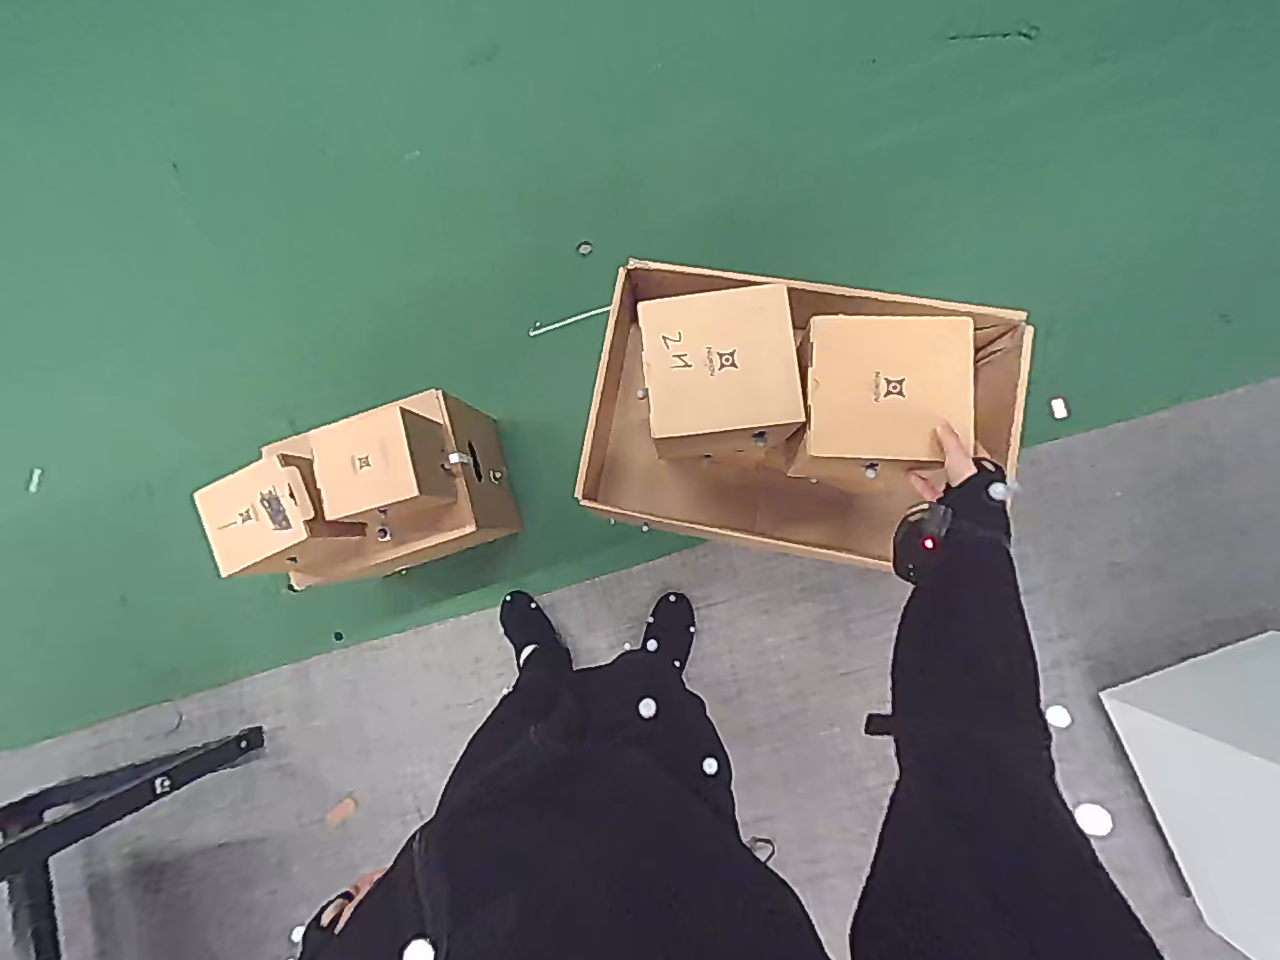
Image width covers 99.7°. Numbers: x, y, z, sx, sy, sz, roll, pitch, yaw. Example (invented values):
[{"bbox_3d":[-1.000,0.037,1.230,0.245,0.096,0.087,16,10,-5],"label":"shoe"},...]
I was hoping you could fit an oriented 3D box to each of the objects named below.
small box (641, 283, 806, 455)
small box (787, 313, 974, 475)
[{"bbox_3d":[0.099,-0.131,0.697,0.179,0.176,0.168,-6,83,4],"label":"small box"},{"bbox_3d":[0.289,-0.098,0.681,0.179,0.176,0.168,3,85,9],"label":"small box"}]
